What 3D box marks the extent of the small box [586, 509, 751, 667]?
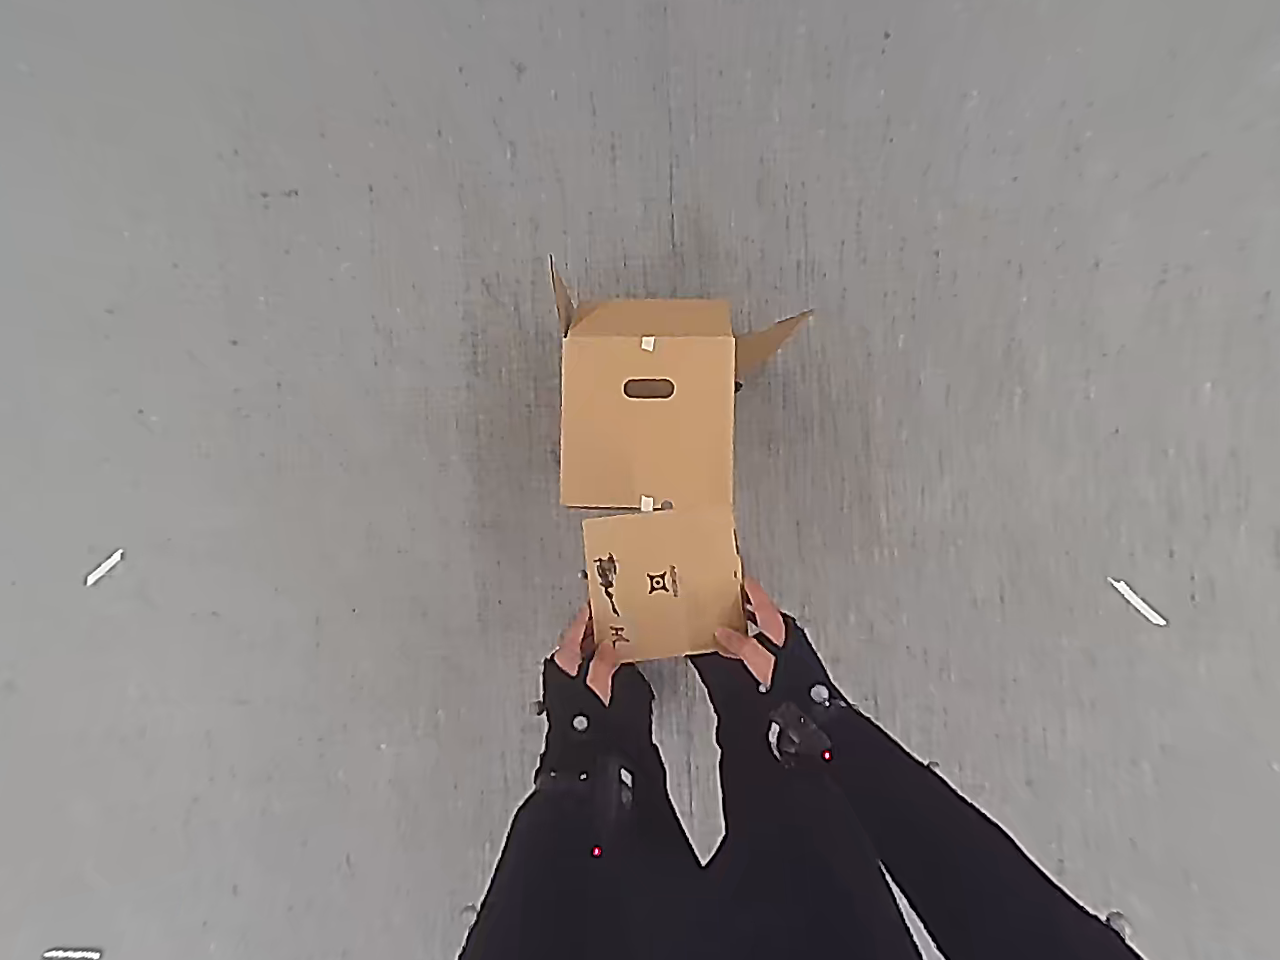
[{"bbox_3d":[0.029,0.127,0.689,0.179,0.176,0.168,-6,84,-2],"label":"small box"}]
